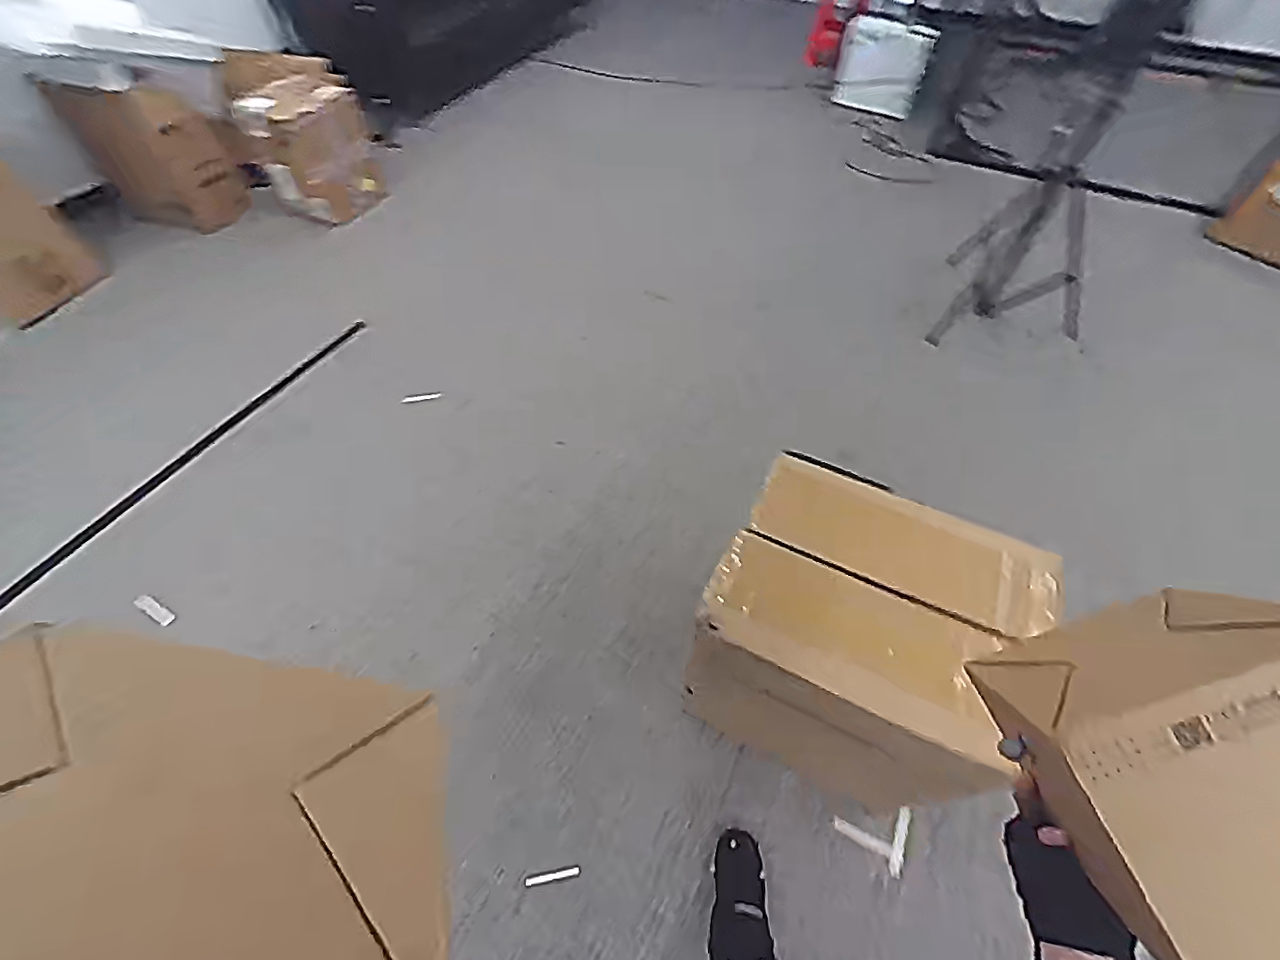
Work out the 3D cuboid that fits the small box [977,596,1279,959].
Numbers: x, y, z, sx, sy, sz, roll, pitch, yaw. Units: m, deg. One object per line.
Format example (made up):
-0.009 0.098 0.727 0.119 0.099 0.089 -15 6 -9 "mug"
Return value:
0.351 0.183 0.340 0.168 0.179 0.176 -28 77 13 "small box"
